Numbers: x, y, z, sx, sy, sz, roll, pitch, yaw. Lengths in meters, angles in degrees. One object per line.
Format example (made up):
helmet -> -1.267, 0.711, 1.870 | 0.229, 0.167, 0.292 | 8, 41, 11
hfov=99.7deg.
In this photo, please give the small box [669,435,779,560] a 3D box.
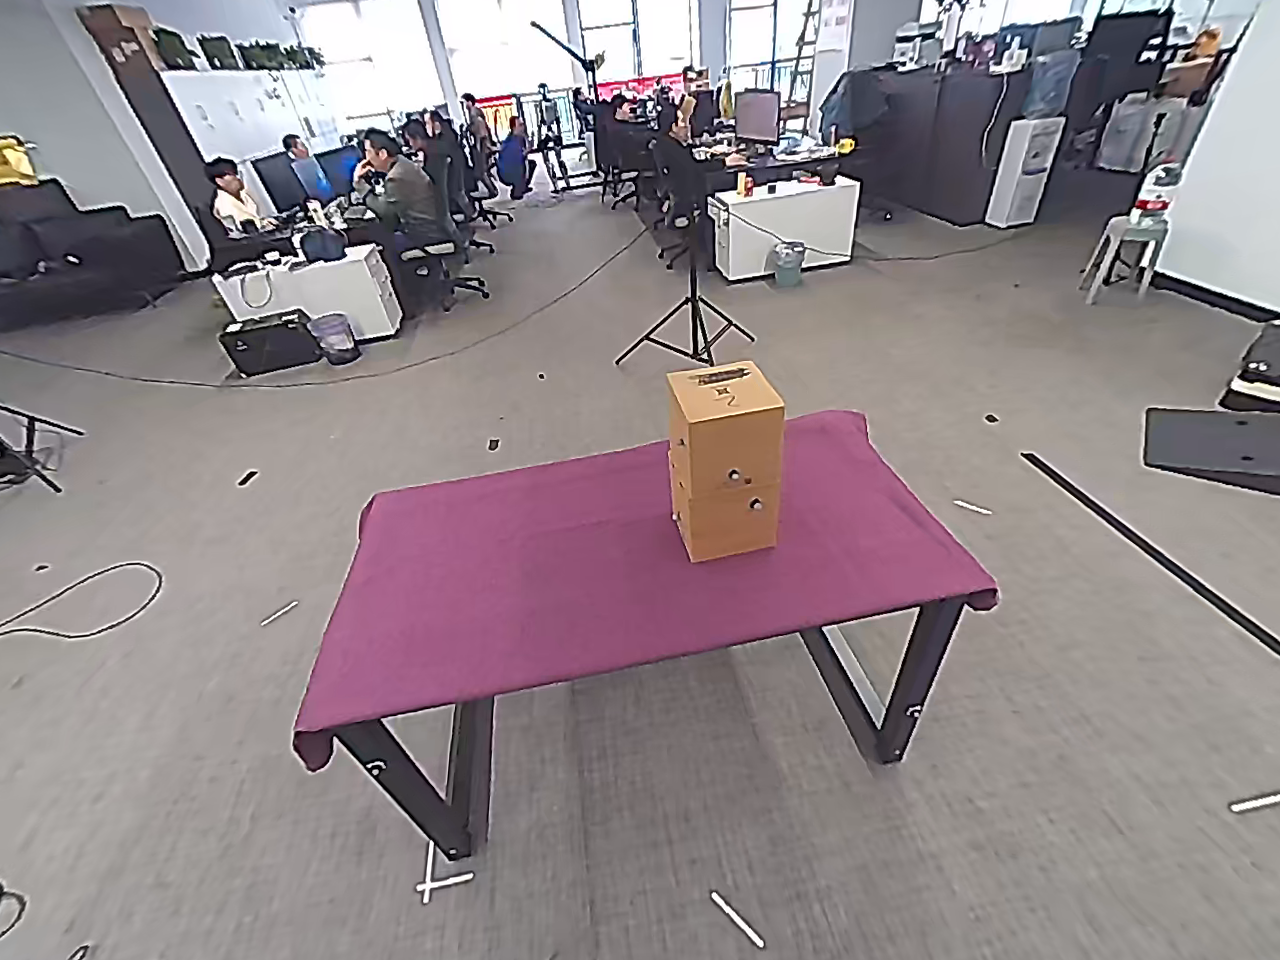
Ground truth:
small box -> 0.164, 0.036, 1.089 | 0.179, 0.176, 0.168 | -12, 37, -4
